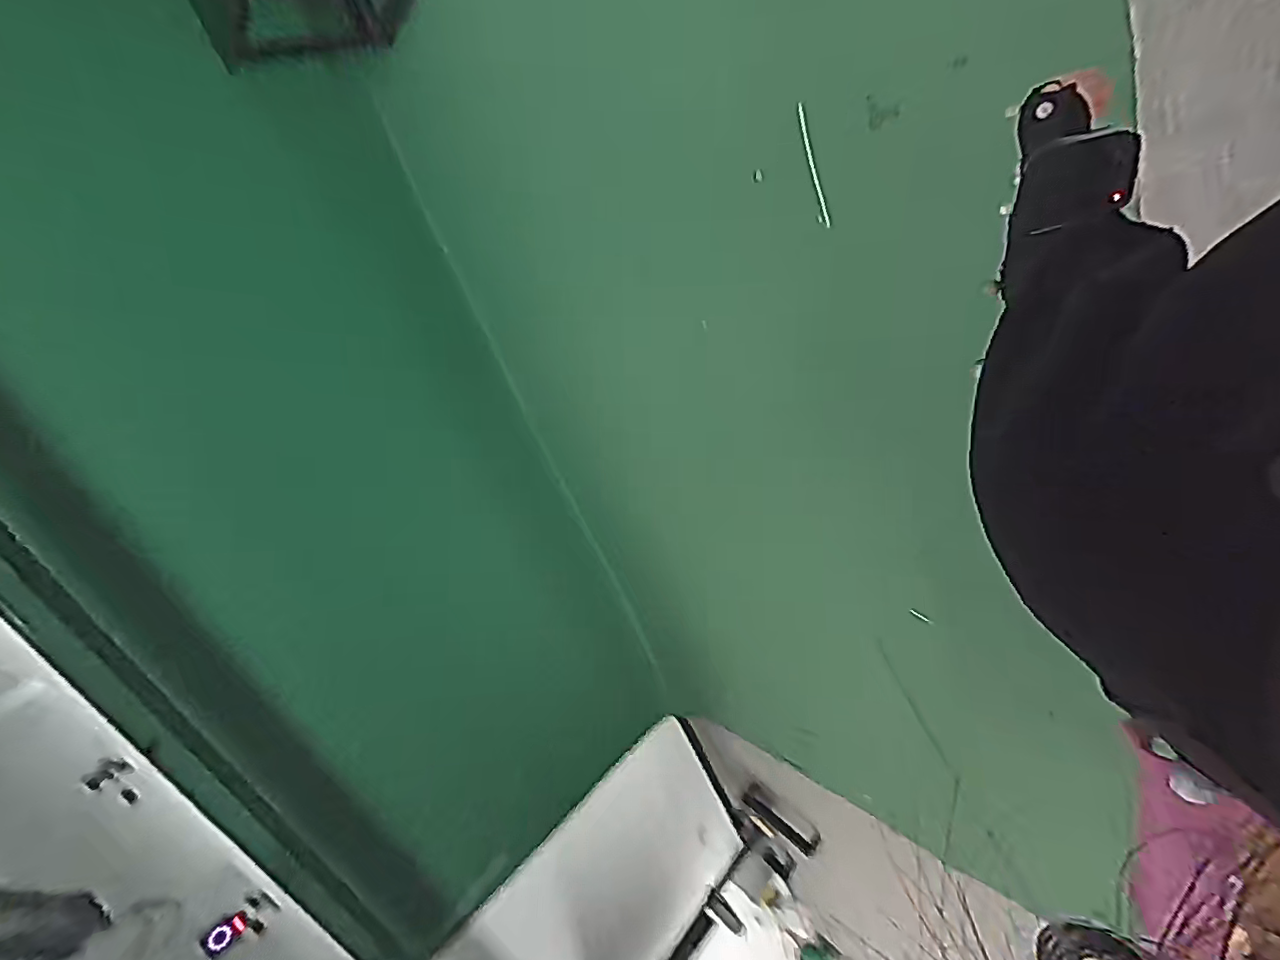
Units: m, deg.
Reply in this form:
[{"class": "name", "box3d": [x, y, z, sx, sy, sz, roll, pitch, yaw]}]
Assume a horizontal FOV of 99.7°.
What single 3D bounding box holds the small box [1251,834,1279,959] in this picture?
[{"class": "small box", "box3d": [0.946, 0.620, 0.711, 0.179, 0.176, 0.168, 3, 123, 54]}]
